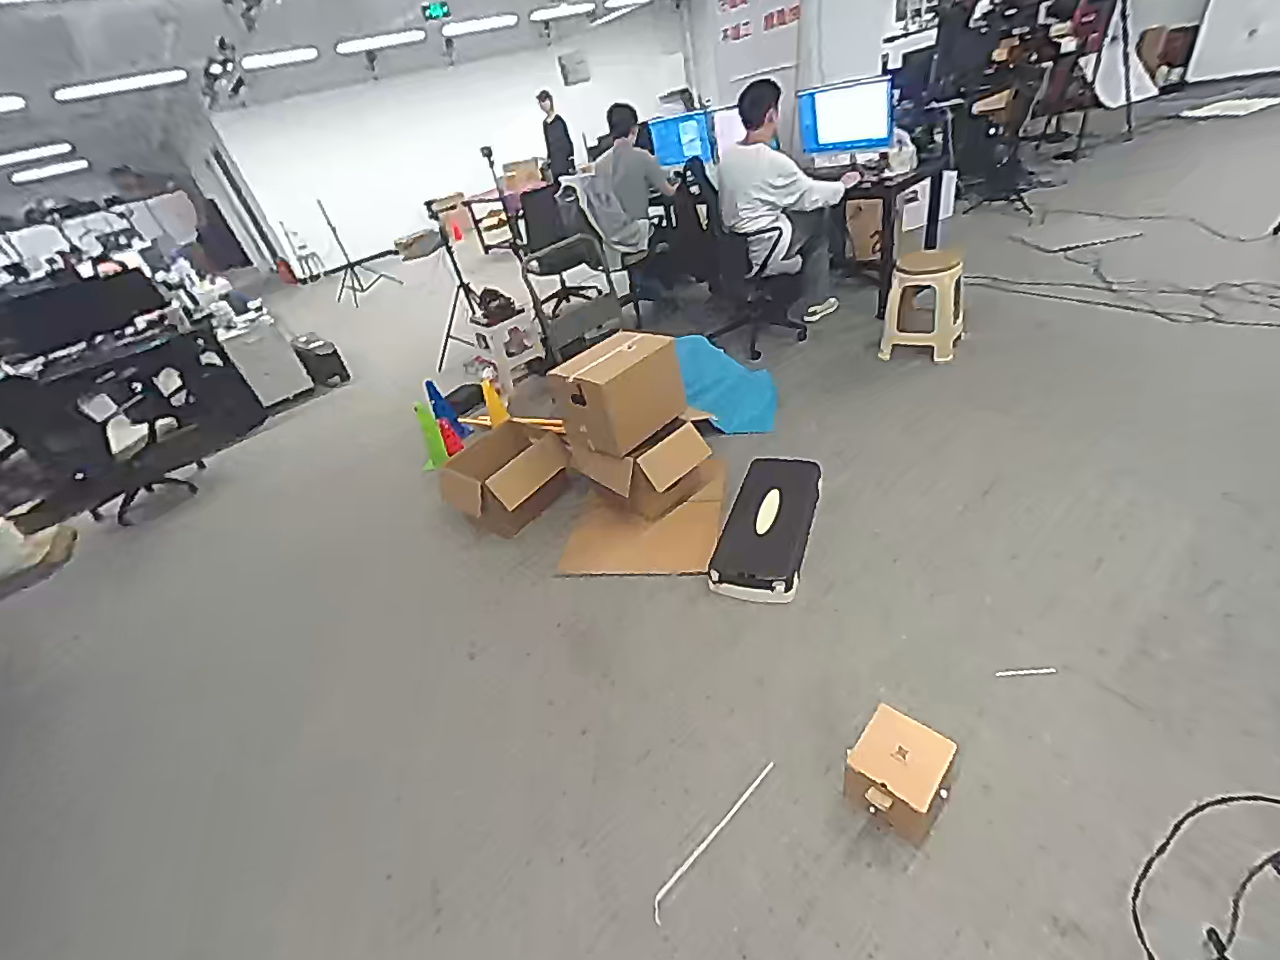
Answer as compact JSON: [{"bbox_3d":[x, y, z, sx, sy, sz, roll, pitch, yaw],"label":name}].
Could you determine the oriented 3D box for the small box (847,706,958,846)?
[{"bbox_3d":[0.570,0.650,1.192,0.168,0.176,0.179,22,50,40],"label":"small box"}]
